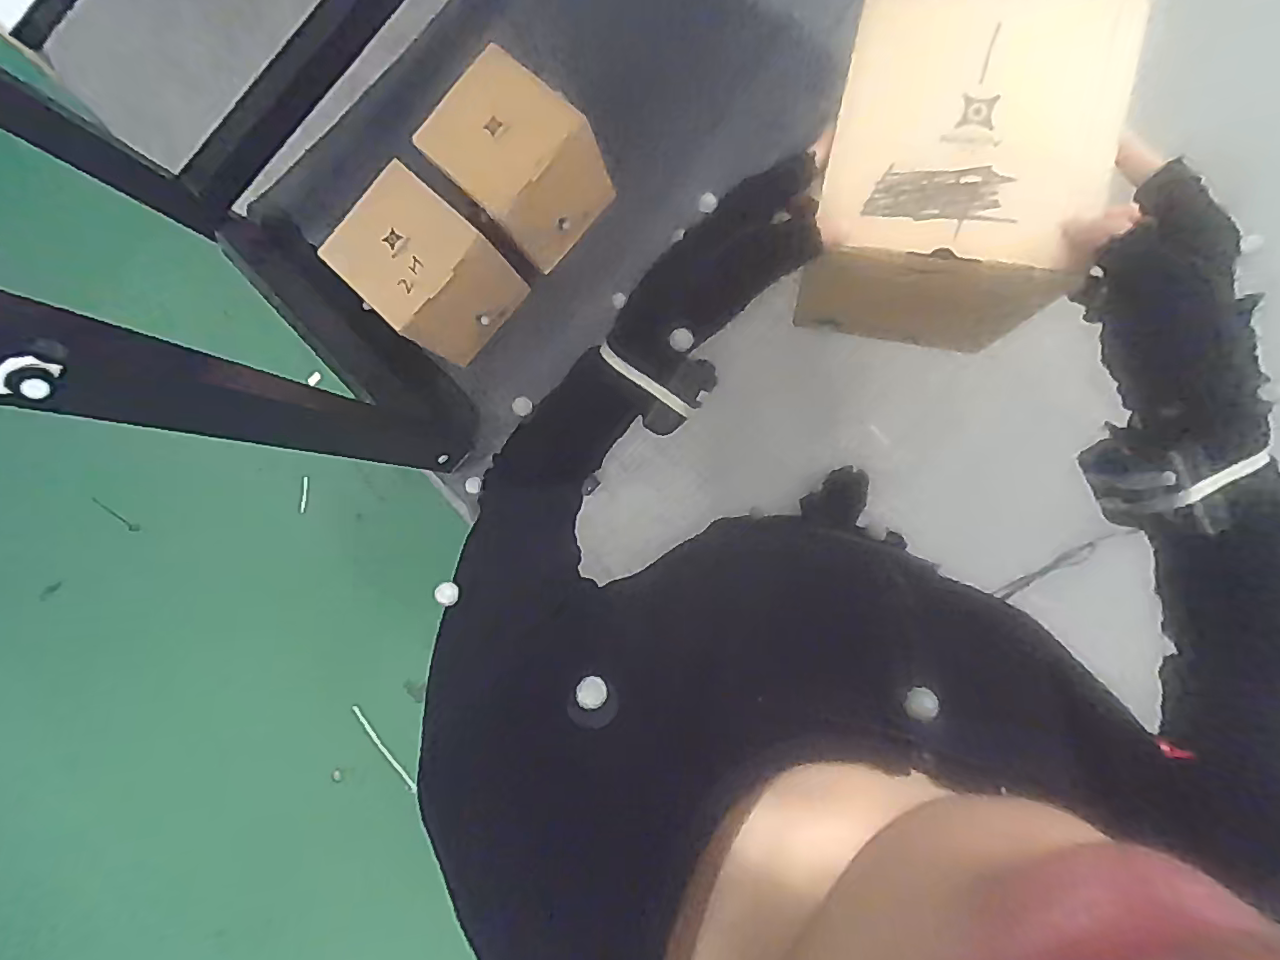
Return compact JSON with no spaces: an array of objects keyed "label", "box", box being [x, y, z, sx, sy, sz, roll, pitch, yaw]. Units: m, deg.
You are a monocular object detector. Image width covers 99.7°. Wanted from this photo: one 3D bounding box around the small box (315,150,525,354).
[{"label":"small box","box":[-0.300,-0.306,0.768,0.179,0.176,0.168,43,95,10]}]
